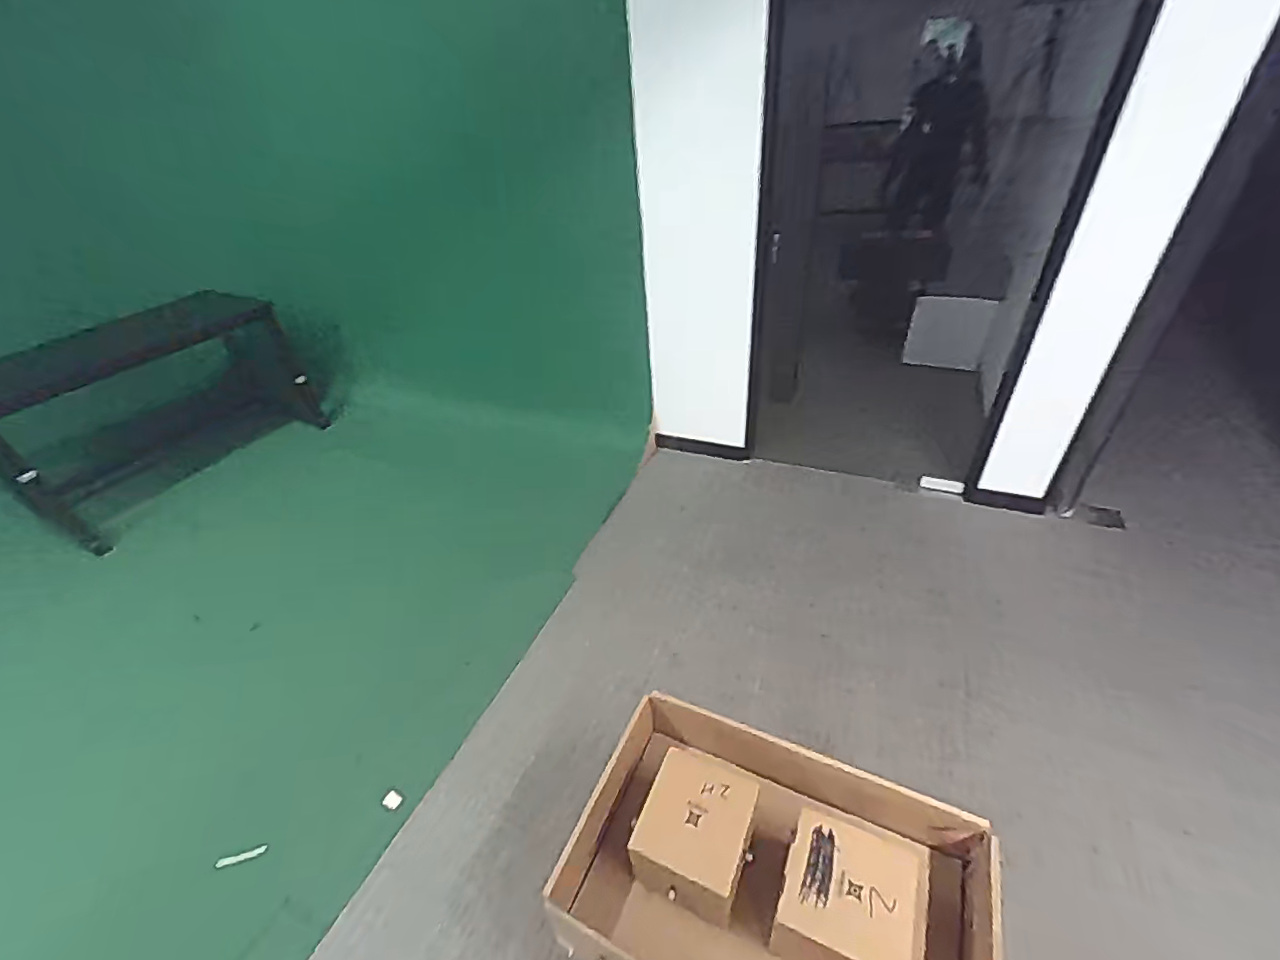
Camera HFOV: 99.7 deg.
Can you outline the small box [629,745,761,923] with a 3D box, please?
[{"bbox_3d":[0.099,0.599,0.917,0.168,0.176,0.179,14,42,23],"label":"small box"}]
